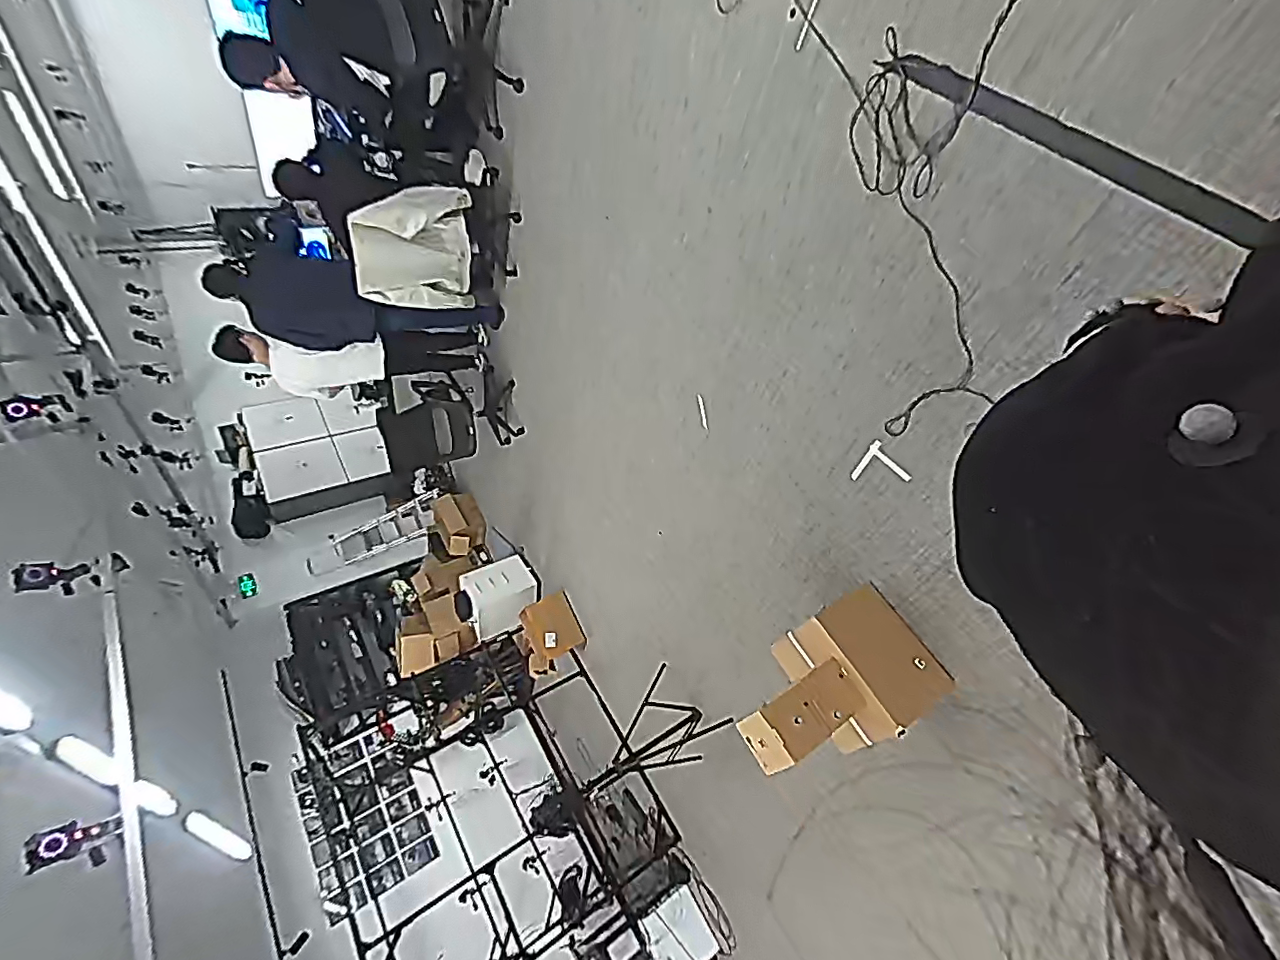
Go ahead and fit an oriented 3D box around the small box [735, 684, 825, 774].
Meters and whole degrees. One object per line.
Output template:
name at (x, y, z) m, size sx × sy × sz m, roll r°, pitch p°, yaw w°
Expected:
small box at (0.423, 0.739, 1.615) m, size 0.168 × 0.176 × 0.179 m, roll 56°, pitch 145°, yaw 23°
